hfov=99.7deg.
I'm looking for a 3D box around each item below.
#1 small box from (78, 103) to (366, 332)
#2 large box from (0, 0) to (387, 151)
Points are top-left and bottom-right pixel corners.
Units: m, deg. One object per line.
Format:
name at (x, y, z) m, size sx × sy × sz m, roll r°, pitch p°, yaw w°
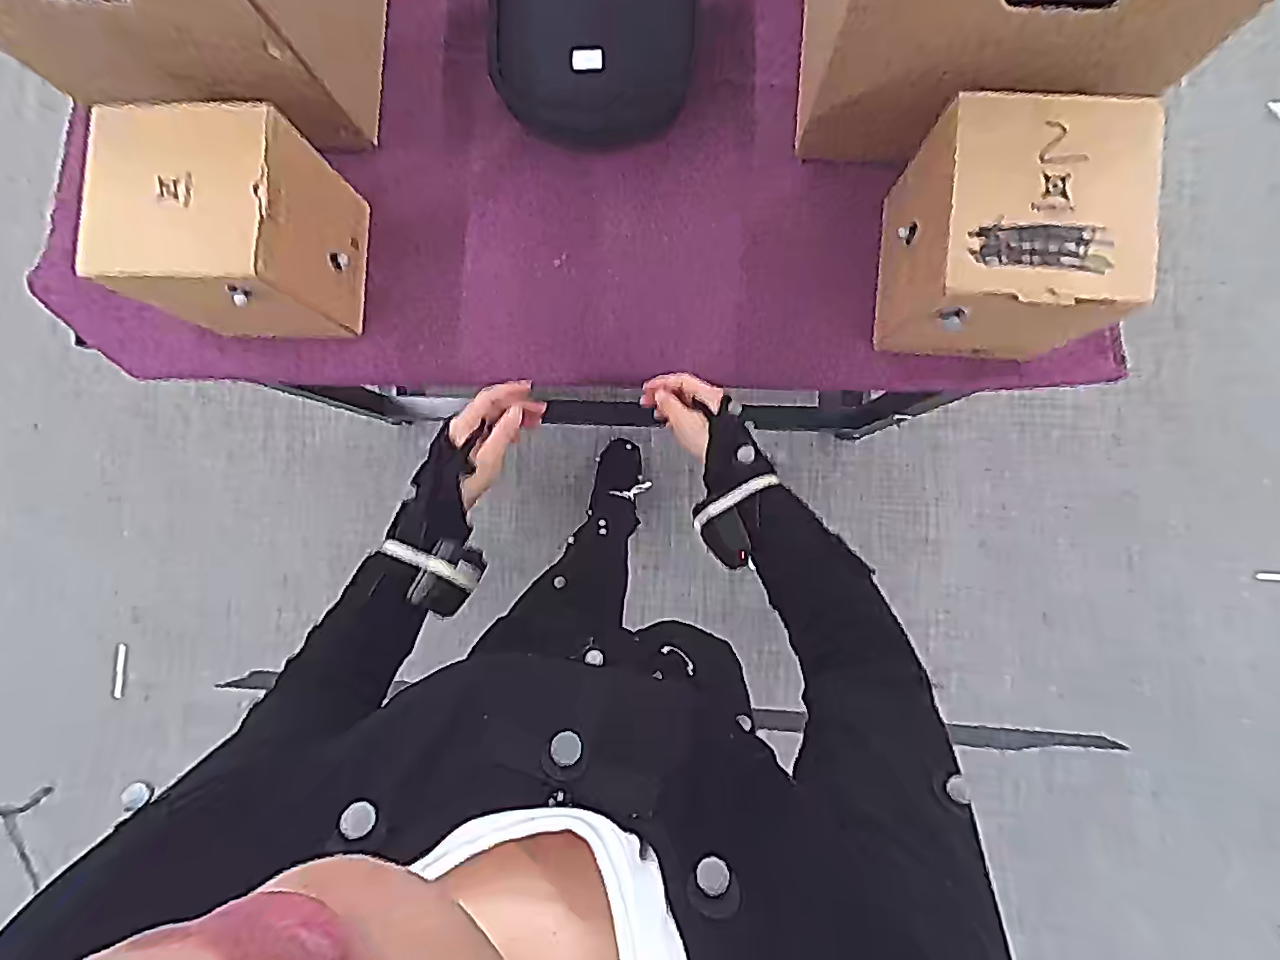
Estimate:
small box at (-0.431, -0.267, 0.585) m, size 0.179 × 0.176 × 0.168 m, roll 1°, pitch 86°, yaw 3°
large box at (-0.469, -0.617, 0.533) m, size 0.320 × 0.320 × 0.408 m, roll 2°, pitch 90°, yaw 2°
